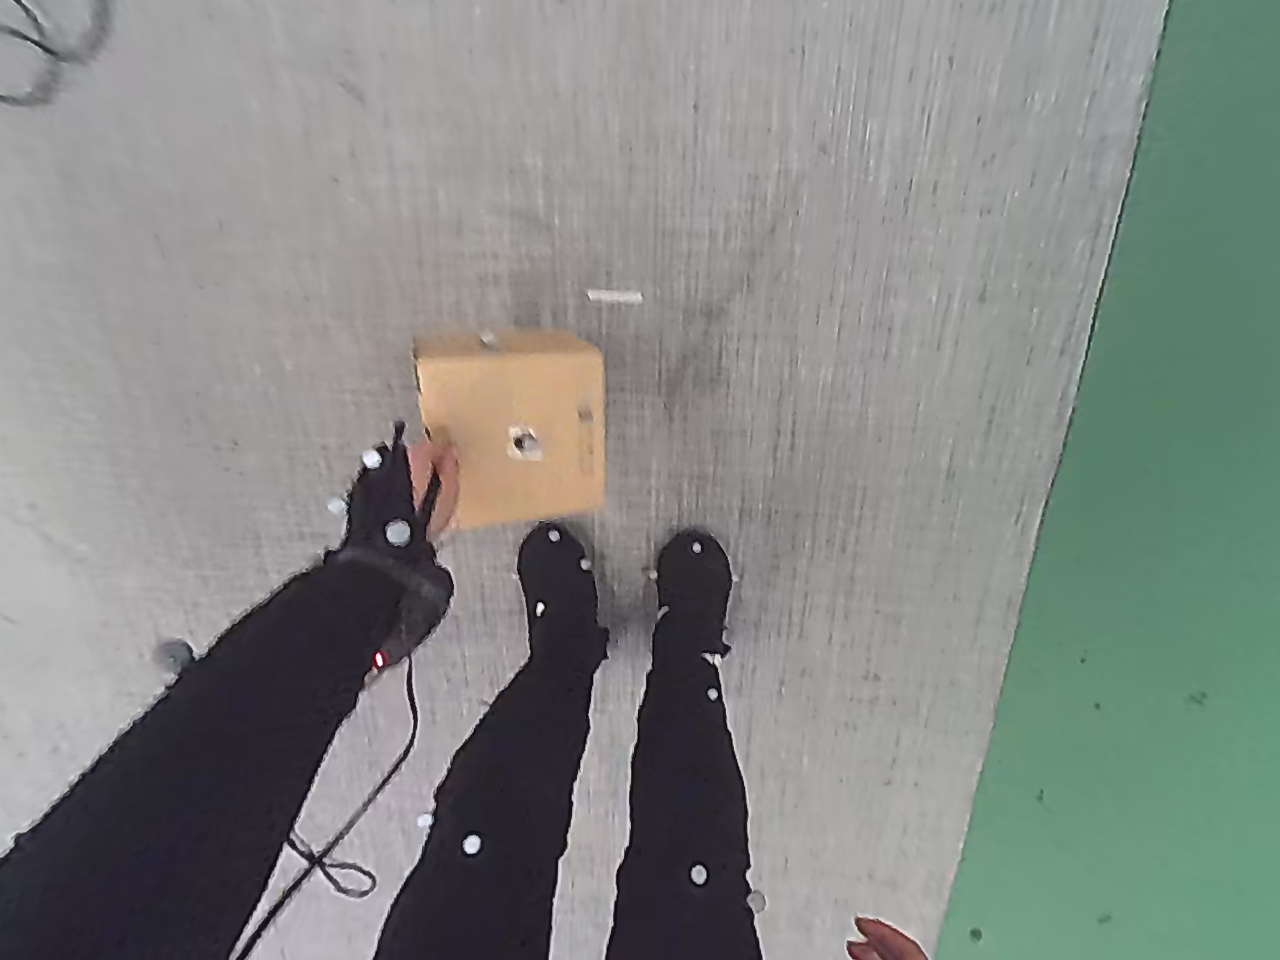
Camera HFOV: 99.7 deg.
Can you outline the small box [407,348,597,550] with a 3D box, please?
[{"bbox_3d":[-0.144,-0.048,0.586,0.176,0.179,0.168,-8,113,-17],"label":"small box"}]
